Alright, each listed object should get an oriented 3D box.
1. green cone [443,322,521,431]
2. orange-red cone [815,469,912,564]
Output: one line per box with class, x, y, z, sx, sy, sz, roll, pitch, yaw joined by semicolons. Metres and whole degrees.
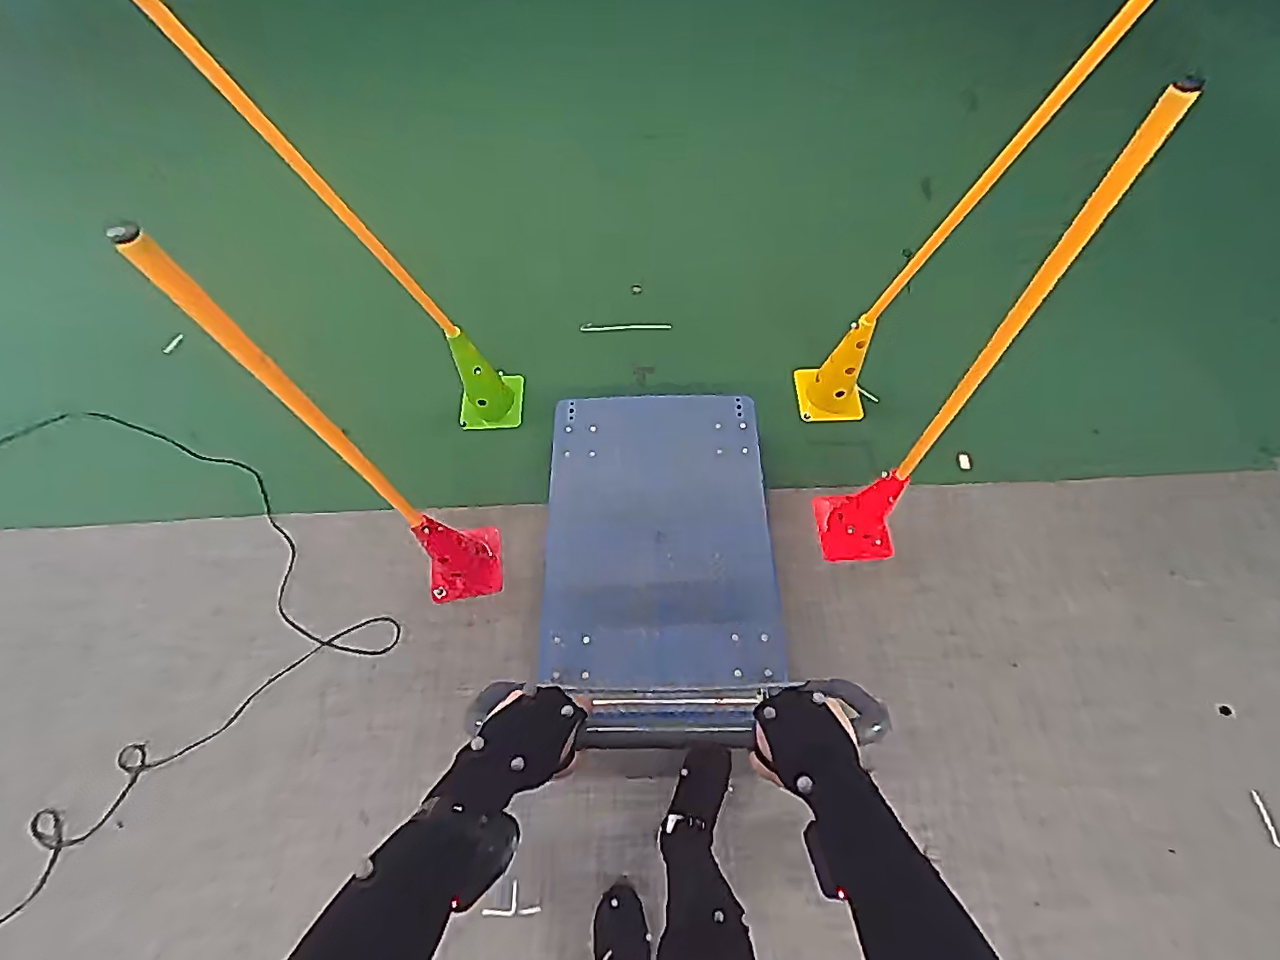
green cone;-0.497;-0.325;1.608;0.200;0.368;0.202;-3;64;1
orange-red cone;0.606;0.067;1.393;0.198;0.360;0.199;-2;63;0
